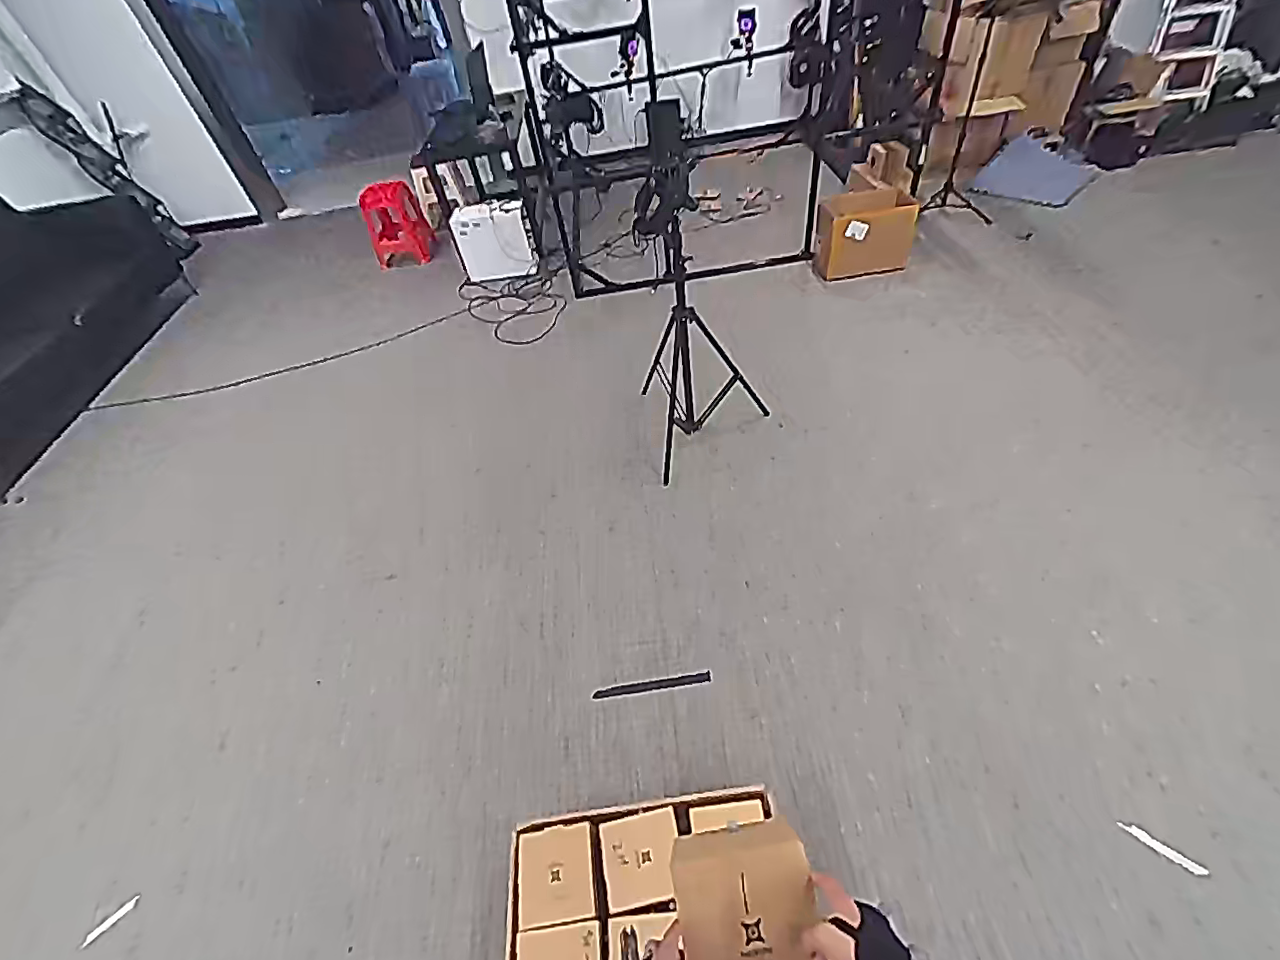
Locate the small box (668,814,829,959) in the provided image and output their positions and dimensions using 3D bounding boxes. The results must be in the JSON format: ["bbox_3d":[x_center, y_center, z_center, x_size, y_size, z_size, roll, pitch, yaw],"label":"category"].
[{"bbox_3d":[0.135,0.555,0.692,0.168,0.176,0.179,-12,66,1],"label":"small box"}]
